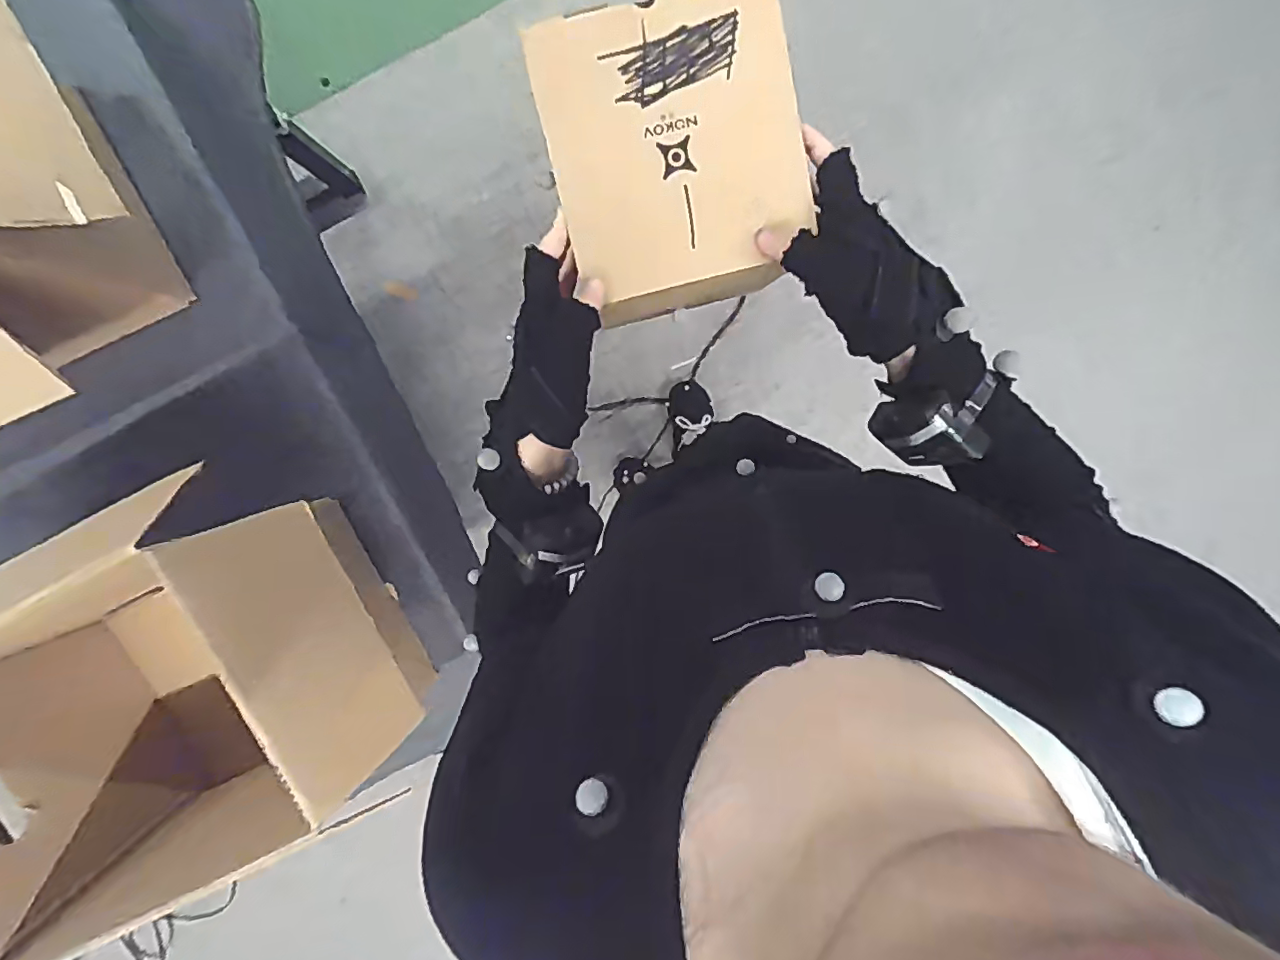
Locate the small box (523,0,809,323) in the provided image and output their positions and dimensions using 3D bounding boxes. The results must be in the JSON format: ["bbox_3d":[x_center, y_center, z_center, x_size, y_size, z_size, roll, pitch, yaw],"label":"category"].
[{"bbox_3d":[0.016,-0.238,0.436,0.168,0.176,0.179,-13,101,0],"label":"small box"}]
